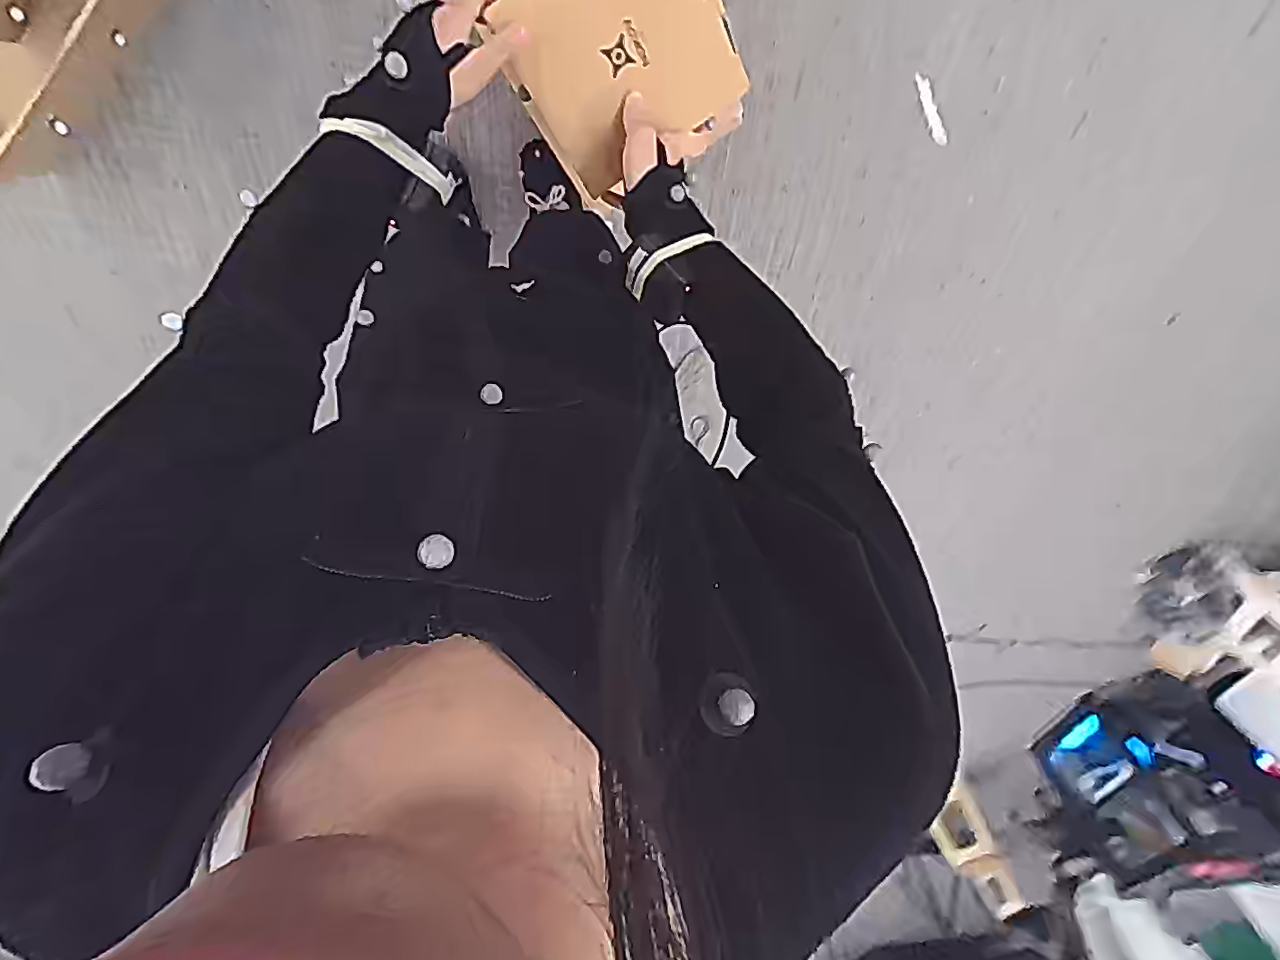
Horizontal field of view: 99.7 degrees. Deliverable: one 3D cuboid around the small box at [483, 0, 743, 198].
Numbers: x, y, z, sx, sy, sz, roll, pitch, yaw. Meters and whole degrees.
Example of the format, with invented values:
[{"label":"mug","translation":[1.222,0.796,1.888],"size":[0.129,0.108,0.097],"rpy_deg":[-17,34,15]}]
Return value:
[{"label":"small box","translation":[-0.025,-0.416,0.535],"size":[0.179,0.176,0.168],"rpy_deg":[-29,126,13]}]
